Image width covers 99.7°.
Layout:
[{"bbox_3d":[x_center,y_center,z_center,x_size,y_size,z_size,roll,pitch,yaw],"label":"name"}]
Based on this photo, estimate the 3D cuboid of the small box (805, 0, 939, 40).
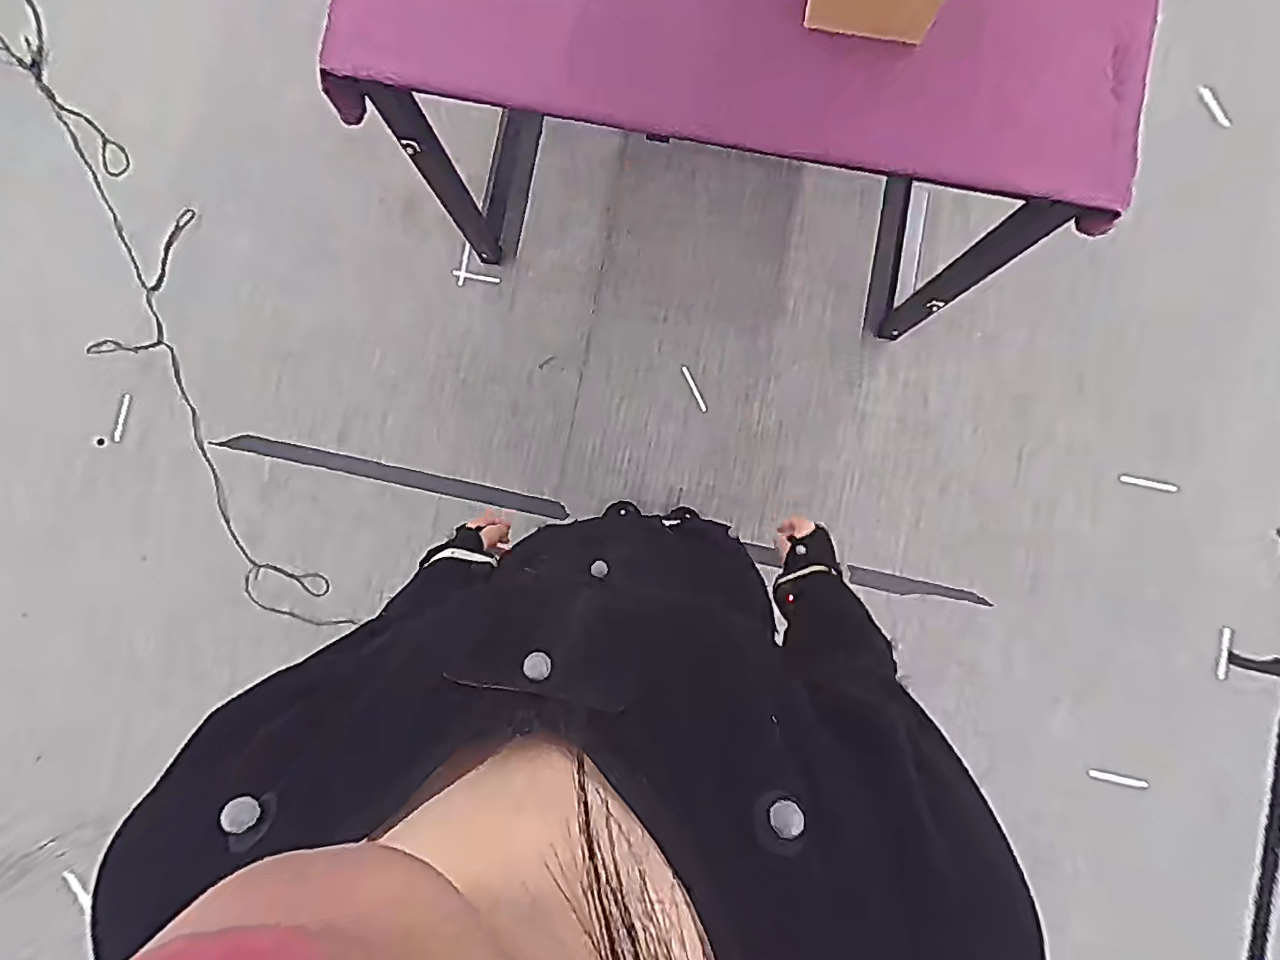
[{"bbox_3d":[0.340,-0.741,0.723,0.179,0.176,0.168,10,87,2],"label":"small box"}]
